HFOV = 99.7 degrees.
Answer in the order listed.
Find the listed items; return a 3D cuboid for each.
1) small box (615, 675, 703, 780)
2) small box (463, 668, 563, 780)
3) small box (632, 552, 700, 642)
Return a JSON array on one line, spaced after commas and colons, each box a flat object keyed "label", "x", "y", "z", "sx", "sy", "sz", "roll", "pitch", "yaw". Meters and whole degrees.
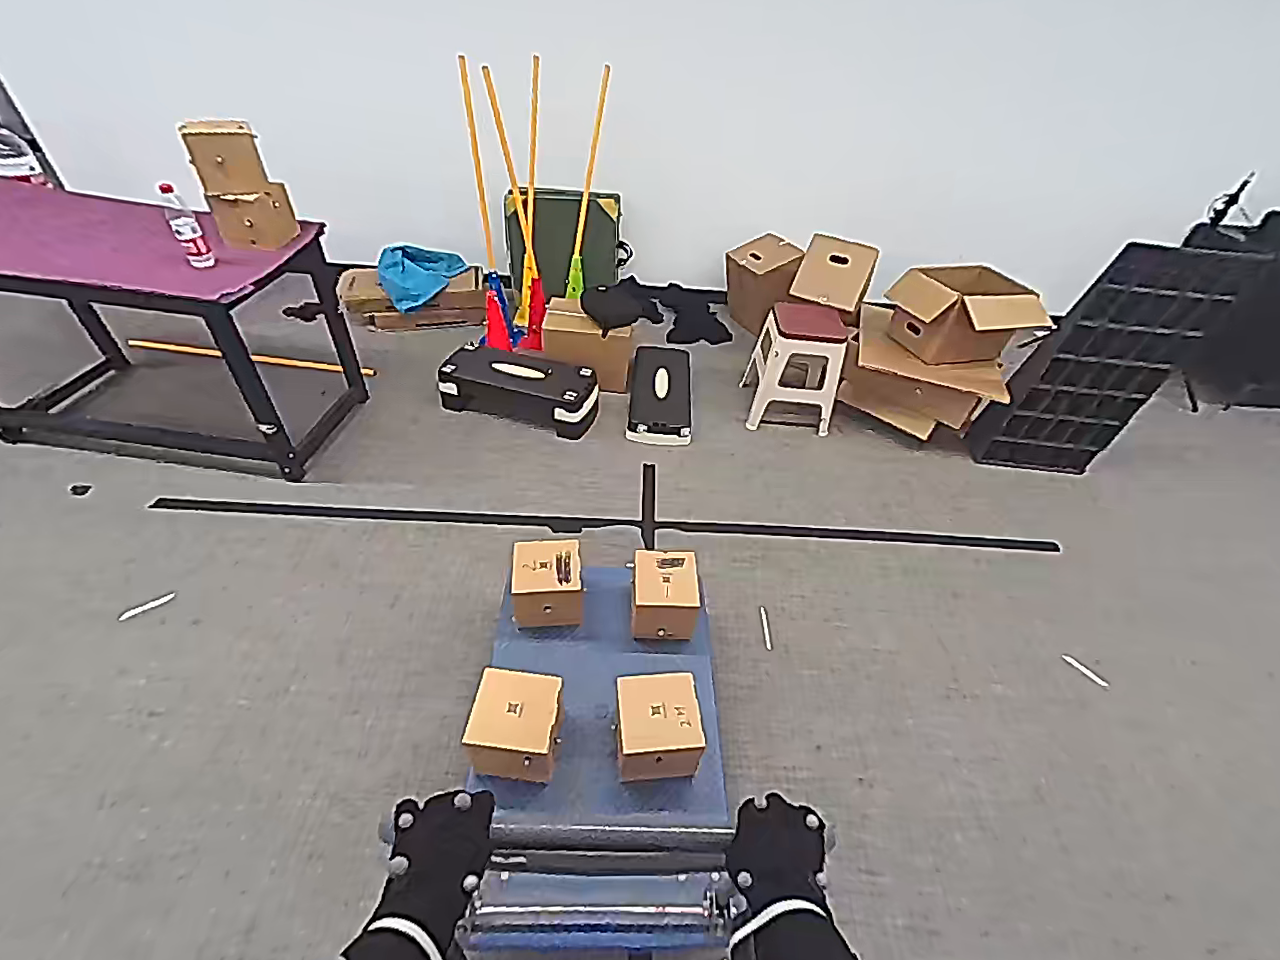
[{"label": "small box", "x": 0.034, "y": 0.560, "z": 1.218, "sx": 0.179, "sy": 0.176, "sz": 0.168, "roll": -1, "pitch": 44, "yaw": -7}, {"label": "small box", "x": -0.272, "y": 0.544, "z": 1.199, "sx": 0.179, "sy": 0.176, "sz": 0.168, "roll": 8, "pitch": 43, "yaw": 0}, {"label": "small box", "x": 0.064, "y": 0.319, "z": 1.474, "sx": 0.168, "sy": 0.176, "sz": 0.179, "roll": 3, "pitch": 45, "yaw": -3}]
